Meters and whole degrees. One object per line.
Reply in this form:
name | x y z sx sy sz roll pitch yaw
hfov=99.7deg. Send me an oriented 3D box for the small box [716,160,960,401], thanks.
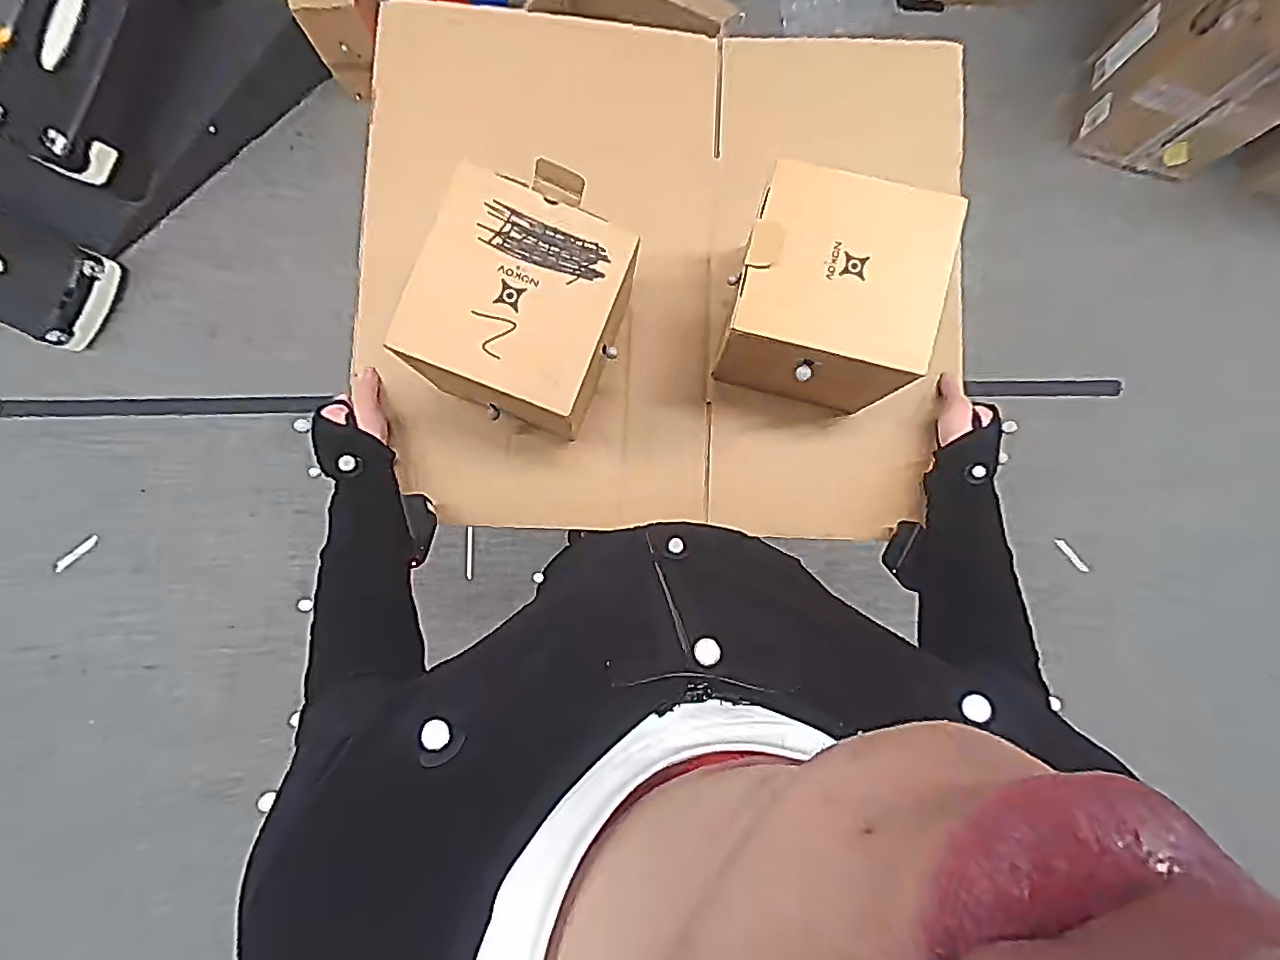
small box | 0.188 -0.190 0.567 0.179 0.176 0.168 15 87 4
